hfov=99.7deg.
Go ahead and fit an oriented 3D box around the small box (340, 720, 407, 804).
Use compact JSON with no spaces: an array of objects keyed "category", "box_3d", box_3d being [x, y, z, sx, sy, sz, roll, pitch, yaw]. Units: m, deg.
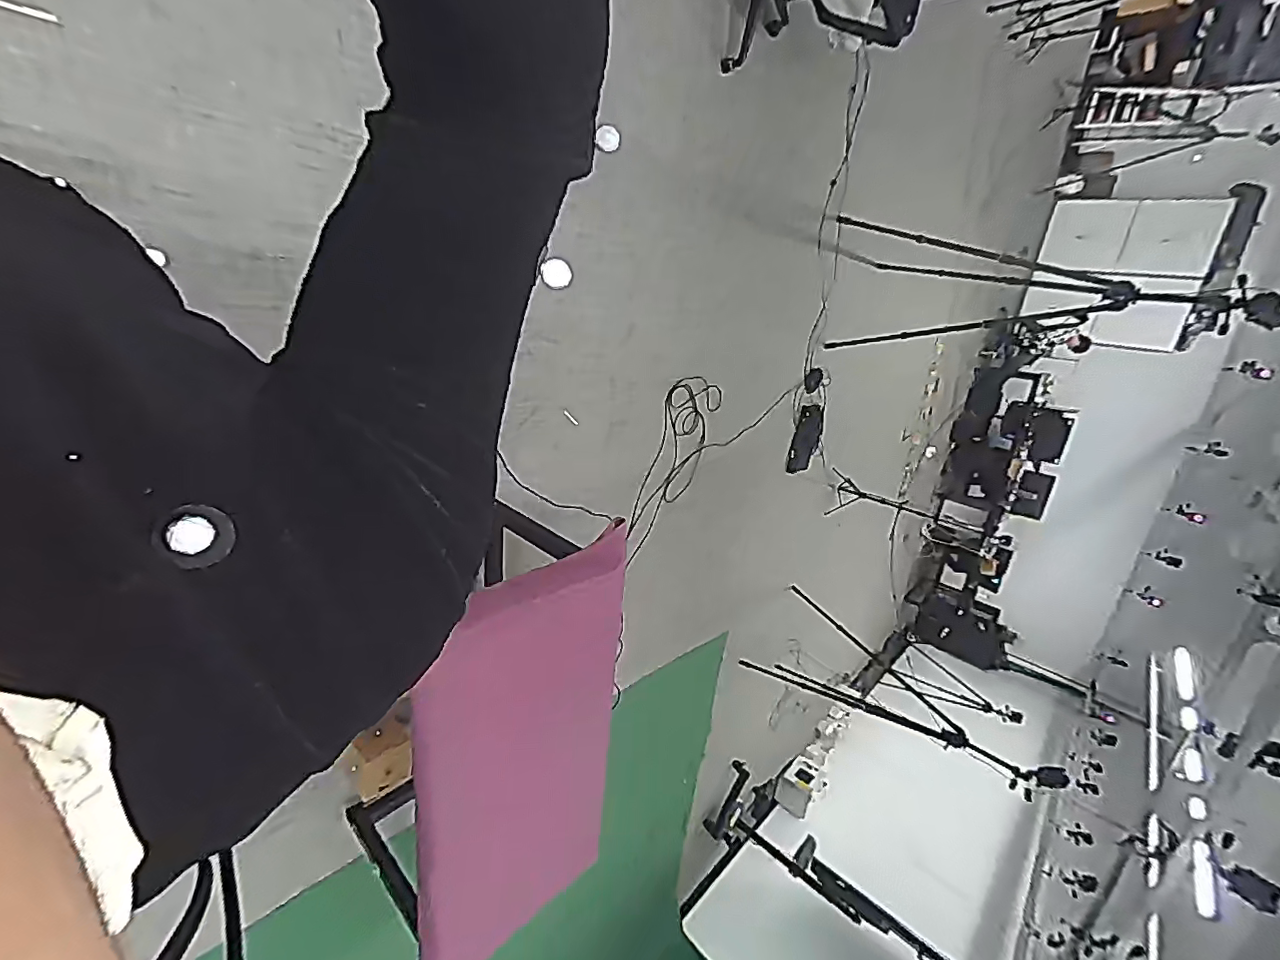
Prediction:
[{"category":"small box","box_3d":[-0.937,0.978,1.898,0.168,0.176,0.179,-10,114,-47]}]
